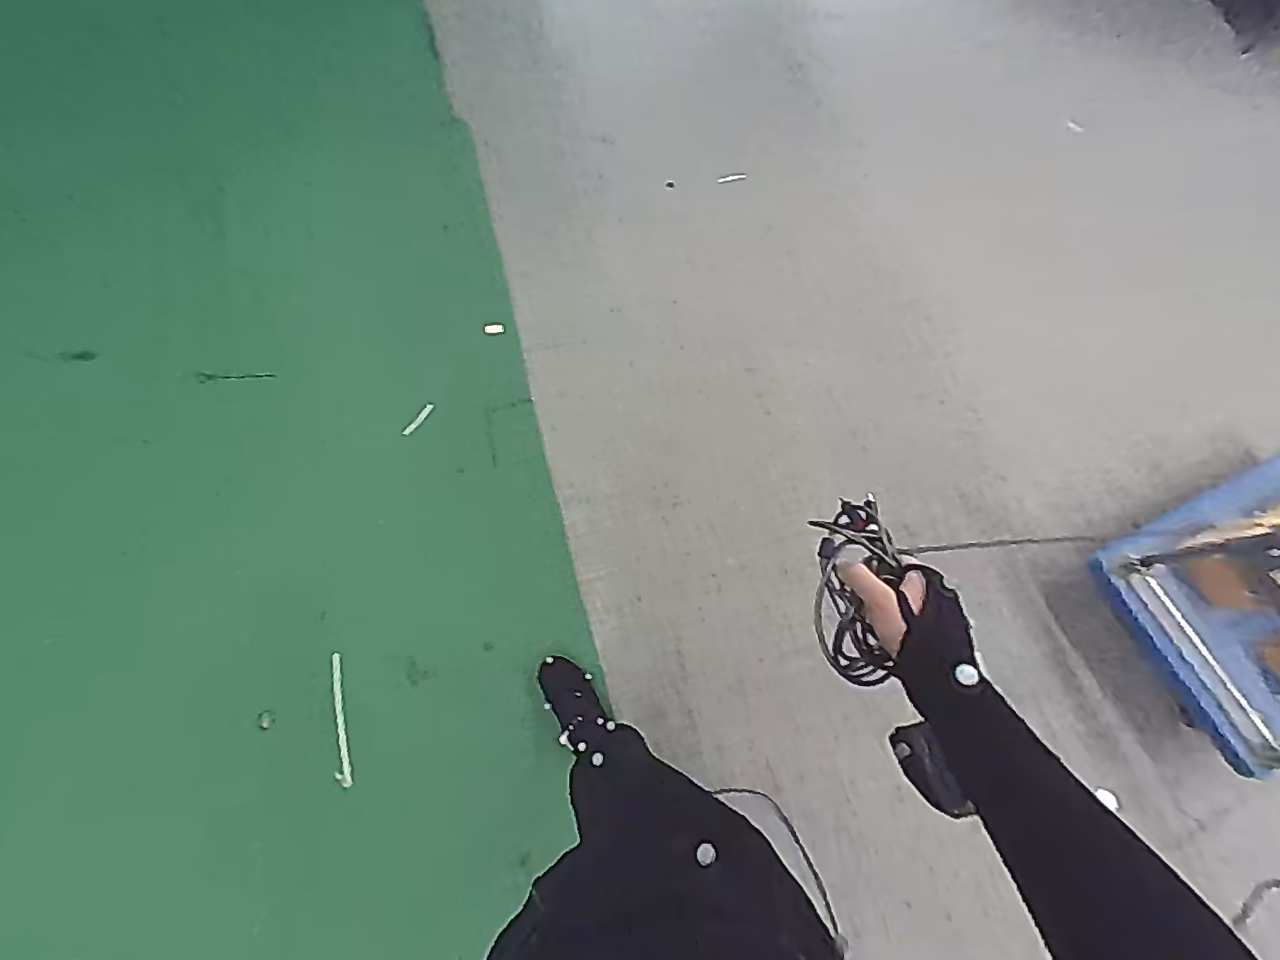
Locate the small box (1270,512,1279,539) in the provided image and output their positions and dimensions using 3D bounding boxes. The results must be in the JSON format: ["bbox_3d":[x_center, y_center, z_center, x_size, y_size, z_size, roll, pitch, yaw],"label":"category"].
[{"bbox_3d":[1.754,0.122,1.340,0.179,0.176,0.168,-27,75,-10],"label":"small box"}]

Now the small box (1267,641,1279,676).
[{"bbox_3d":[1.631,0.432,1.234,0.179,0.176,0.168,-21,73,-8],"label":"small box"}]
